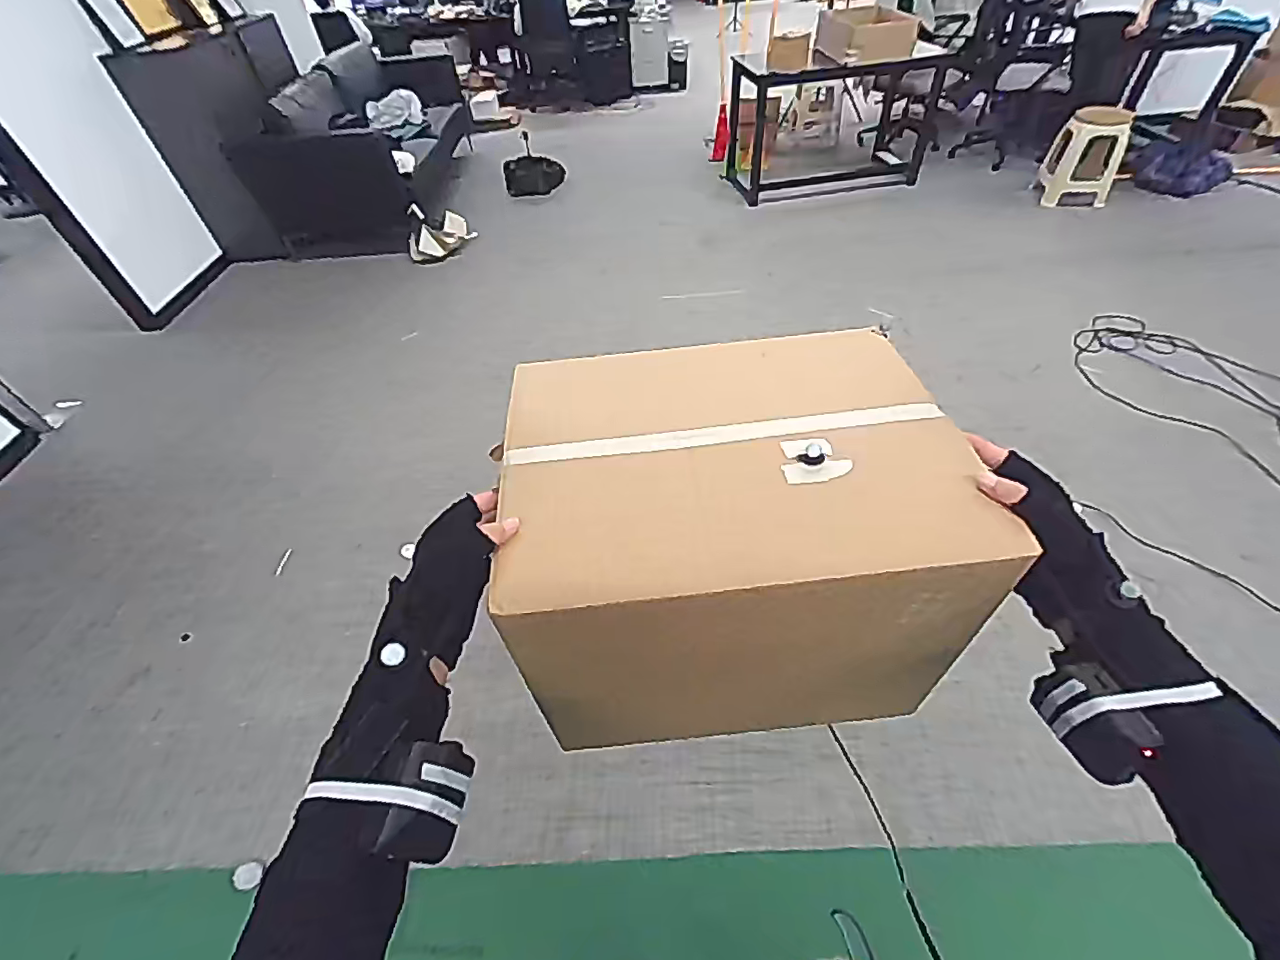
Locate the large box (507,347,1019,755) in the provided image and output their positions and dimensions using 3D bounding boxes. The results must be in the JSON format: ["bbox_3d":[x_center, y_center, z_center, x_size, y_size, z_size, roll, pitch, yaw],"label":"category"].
[{"bbox_3d":[0.088,0.080,0.614,0.408,0.320,0.320,-6,46,-1],"label":"large box"}]
